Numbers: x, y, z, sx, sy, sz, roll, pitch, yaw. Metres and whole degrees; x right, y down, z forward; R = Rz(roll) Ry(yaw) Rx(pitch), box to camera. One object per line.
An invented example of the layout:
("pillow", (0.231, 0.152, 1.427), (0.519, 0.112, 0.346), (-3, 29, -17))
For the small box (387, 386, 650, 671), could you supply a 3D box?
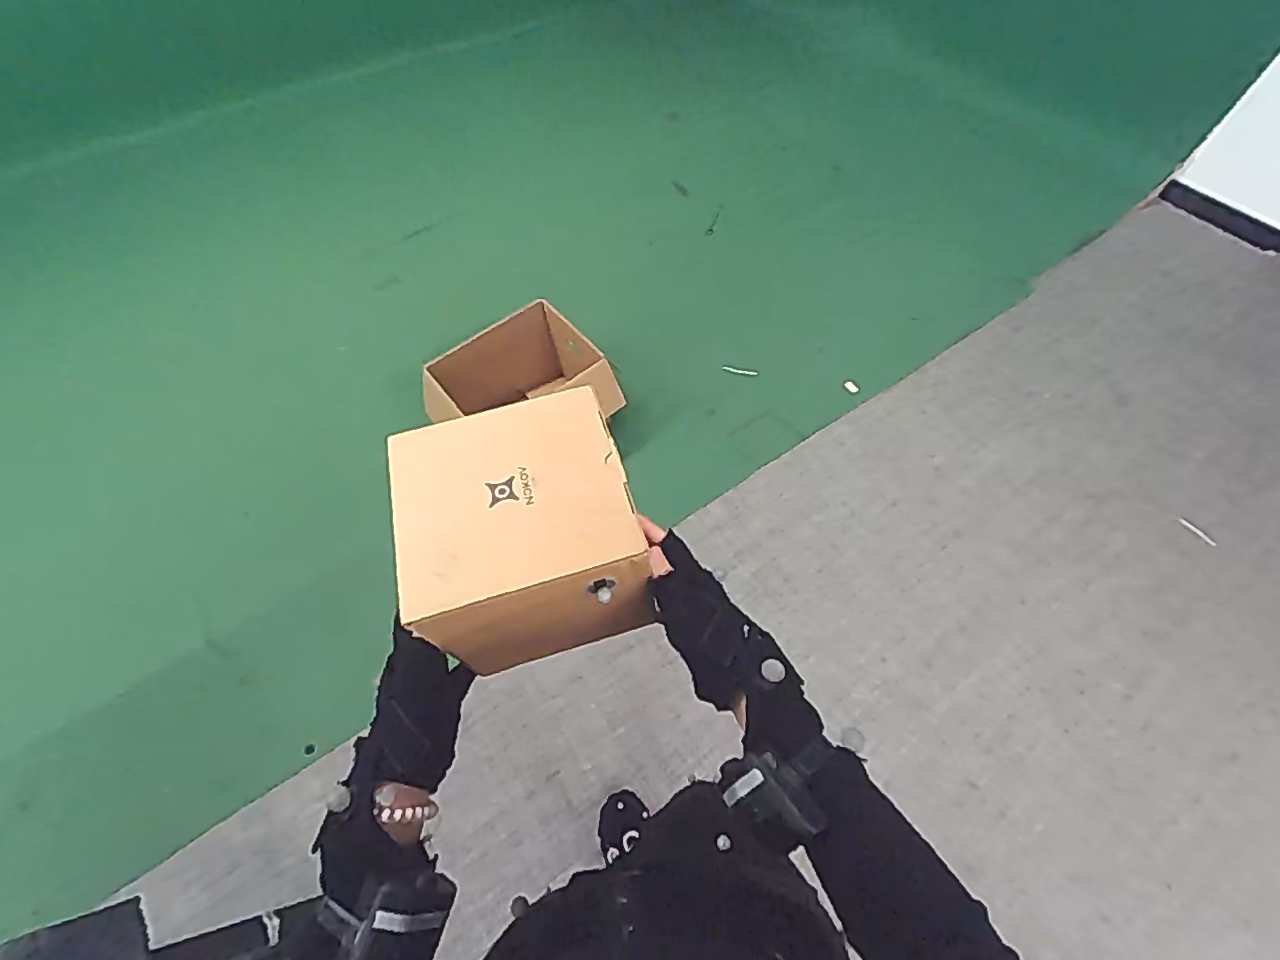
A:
("small box", (-0.098, 0.050, 0.477), (0.179, 0.176, 0.168), (-16, 58, -6))
